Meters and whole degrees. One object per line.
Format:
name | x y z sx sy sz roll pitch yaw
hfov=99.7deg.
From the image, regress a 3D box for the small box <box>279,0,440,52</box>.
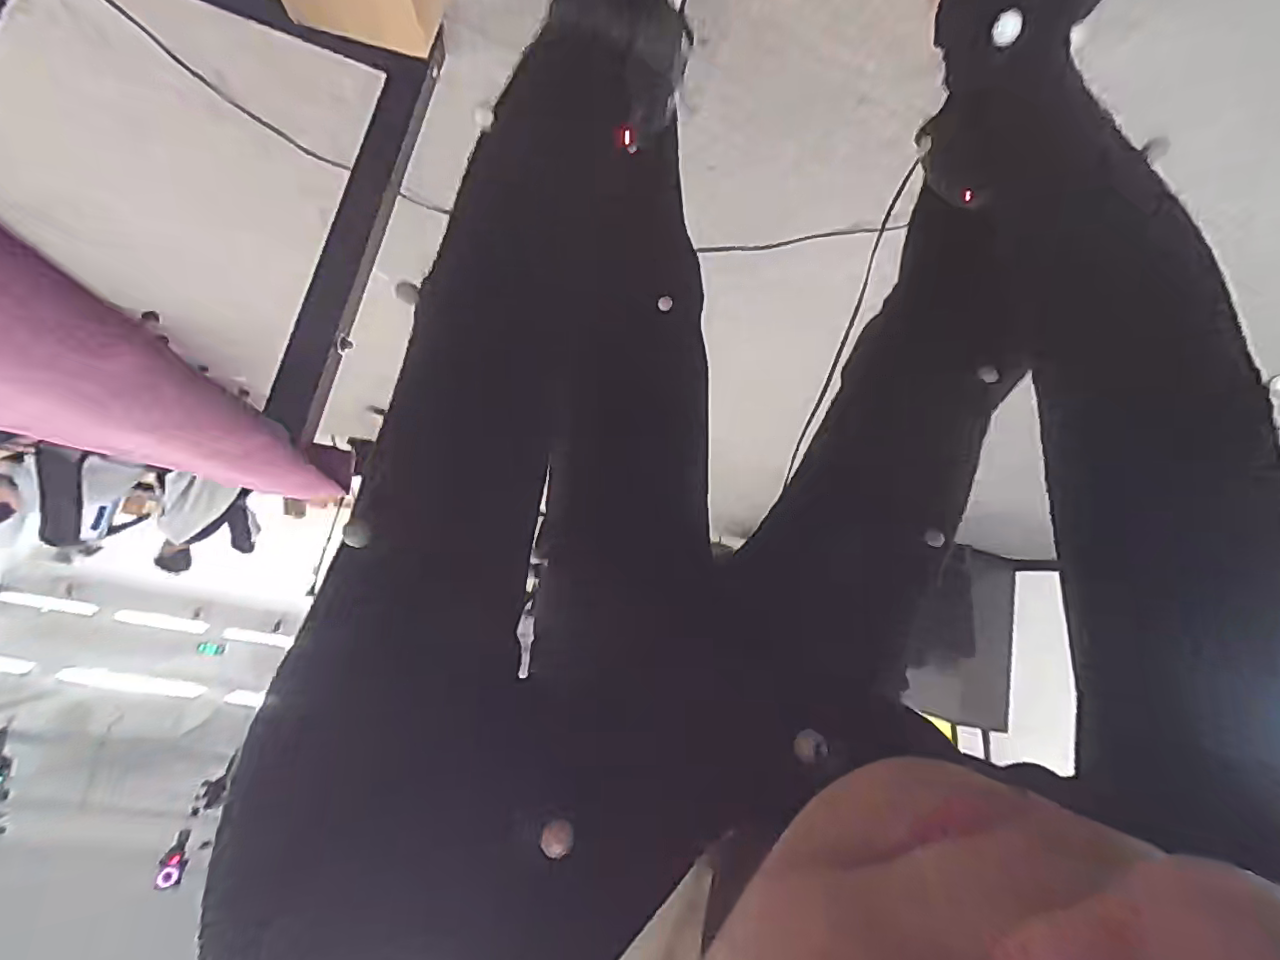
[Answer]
small box | -0.325 -0.647 0.609 0.179 0.176 0.168 13 168 -5
